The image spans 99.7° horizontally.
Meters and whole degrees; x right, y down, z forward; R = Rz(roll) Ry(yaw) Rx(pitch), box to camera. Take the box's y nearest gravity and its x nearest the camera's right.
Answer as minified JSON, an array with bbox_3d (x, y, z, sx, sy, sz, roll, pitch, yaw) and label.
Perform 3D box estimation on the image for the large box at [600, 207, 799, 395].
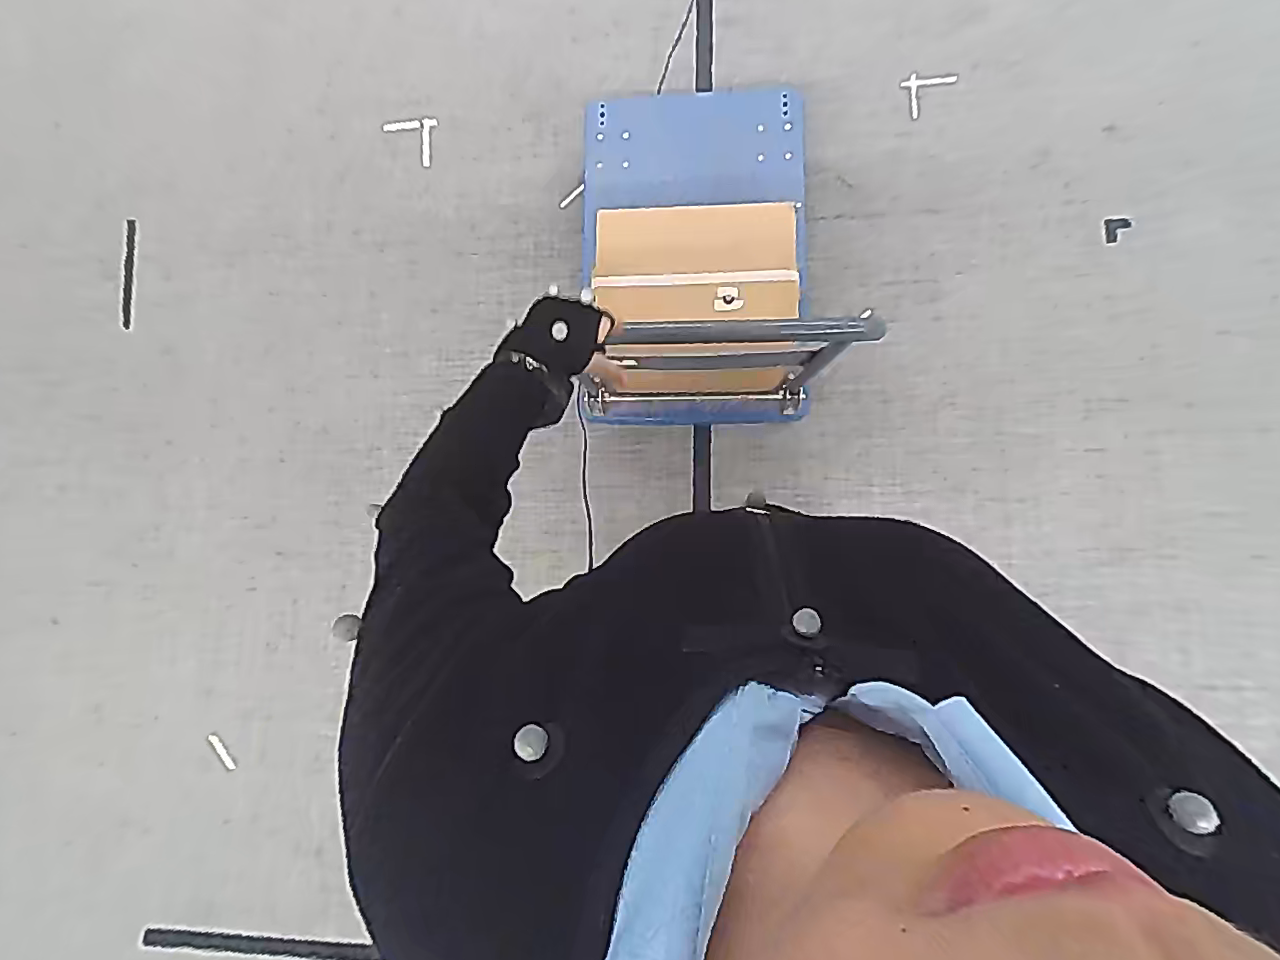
[{"bbox_3d":[0.127,-0.387,1.247,0.408,0.320,0.320,0,86,4],"label":"large box"}]
